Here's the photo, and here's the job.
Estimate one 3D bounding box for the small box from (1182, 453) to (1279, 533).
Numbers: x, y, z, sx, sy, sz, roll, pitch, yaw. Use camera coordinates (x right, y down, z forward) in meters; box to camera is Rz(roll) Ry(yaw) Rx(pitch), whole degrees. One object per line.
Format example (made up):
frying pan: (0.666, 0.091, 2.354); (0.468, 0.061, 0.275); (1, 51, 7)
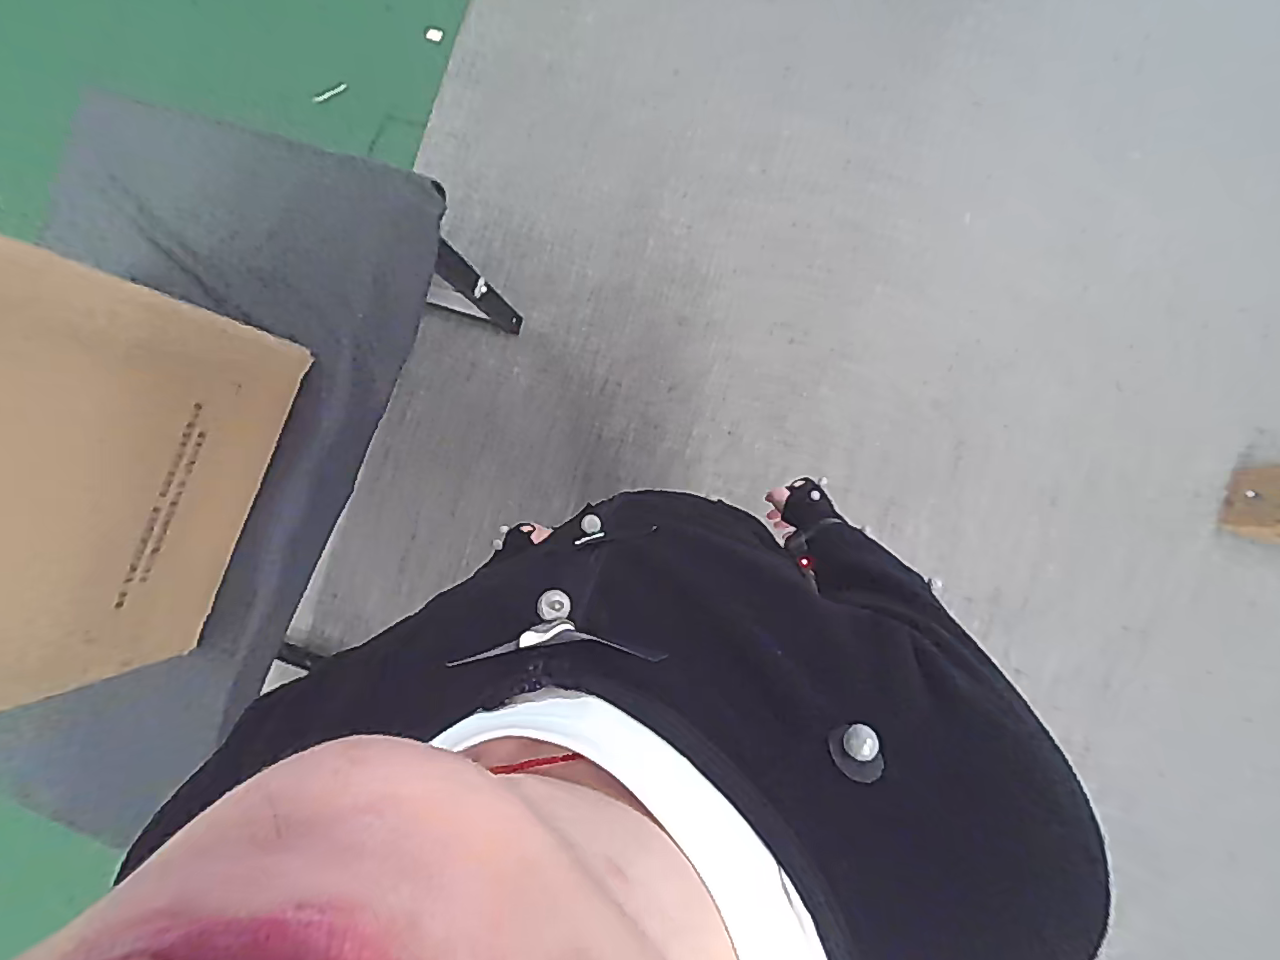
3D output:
small box: (1.569, 0.039, 1.389); (0.179, 0.176, 0.168); (16, 89, 3)
